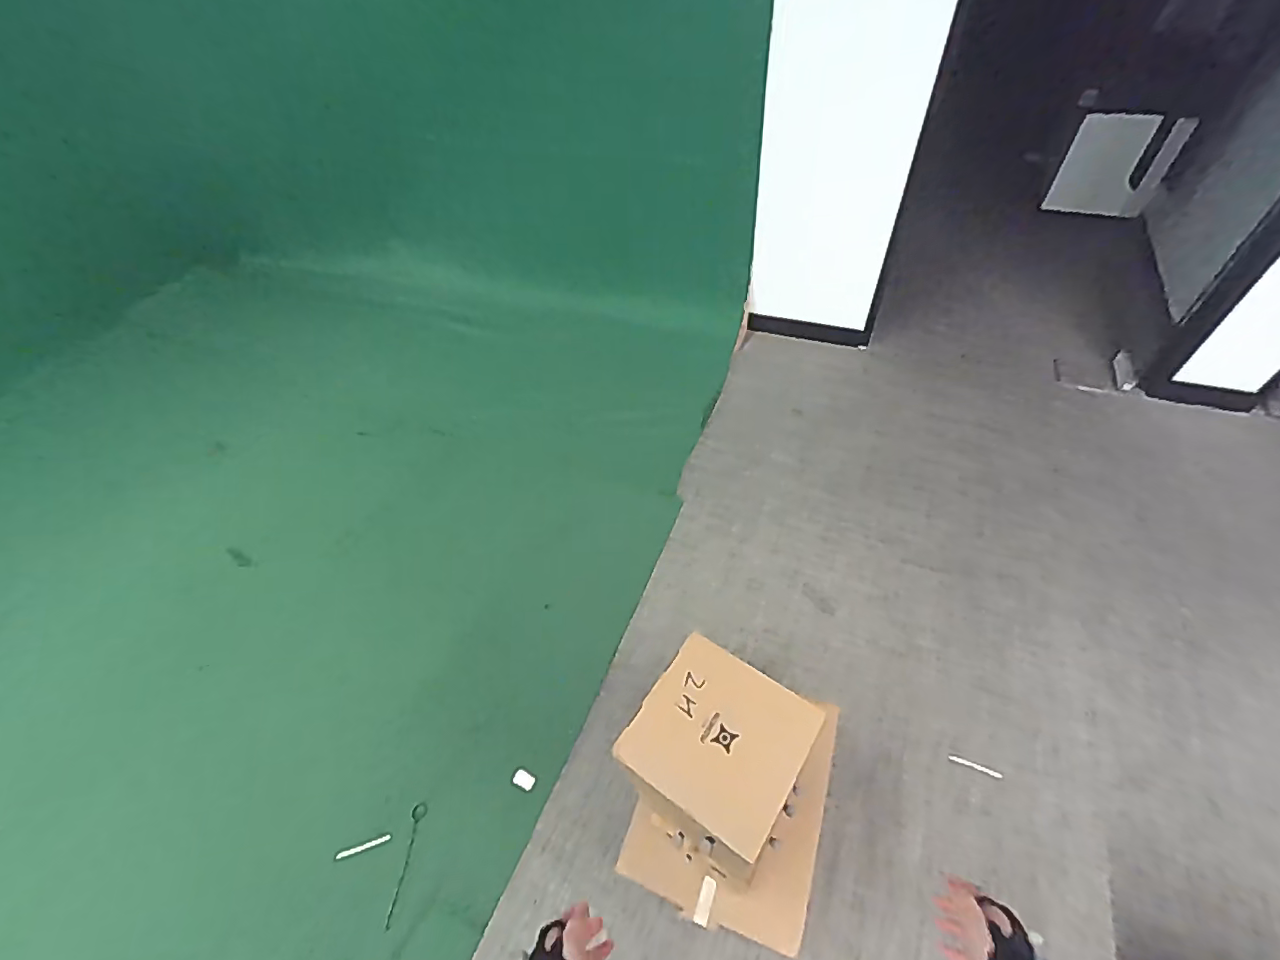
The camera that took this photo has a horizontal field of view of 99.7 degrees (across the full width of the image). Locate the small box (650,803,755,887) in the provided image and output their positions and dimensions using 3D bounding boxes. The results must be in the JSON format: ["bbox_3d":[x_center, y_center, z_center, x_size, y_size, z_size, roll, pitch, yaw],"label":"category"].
[{"bbox_3d":[0.121,0.431,0.764,0.168,0.176,0.179,26,60,26],"label":"small box"}]

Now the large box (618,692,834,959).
[{"bbox_3d":[0.183,0.656,1.097,0.320,0.320,0.408,14,53,17],"label":"large box"}]

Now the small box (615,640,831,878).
[{"bbox_3d":[0.096,0.328,0.637,0.179,0.176,0.168,27,59,26],"label":"small box"}]

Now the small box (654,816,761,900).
[{"bbox_3d":[0.137,0.541,0.883,0.168,0.176,0.179,24,58,24],"label":"small box"}]
